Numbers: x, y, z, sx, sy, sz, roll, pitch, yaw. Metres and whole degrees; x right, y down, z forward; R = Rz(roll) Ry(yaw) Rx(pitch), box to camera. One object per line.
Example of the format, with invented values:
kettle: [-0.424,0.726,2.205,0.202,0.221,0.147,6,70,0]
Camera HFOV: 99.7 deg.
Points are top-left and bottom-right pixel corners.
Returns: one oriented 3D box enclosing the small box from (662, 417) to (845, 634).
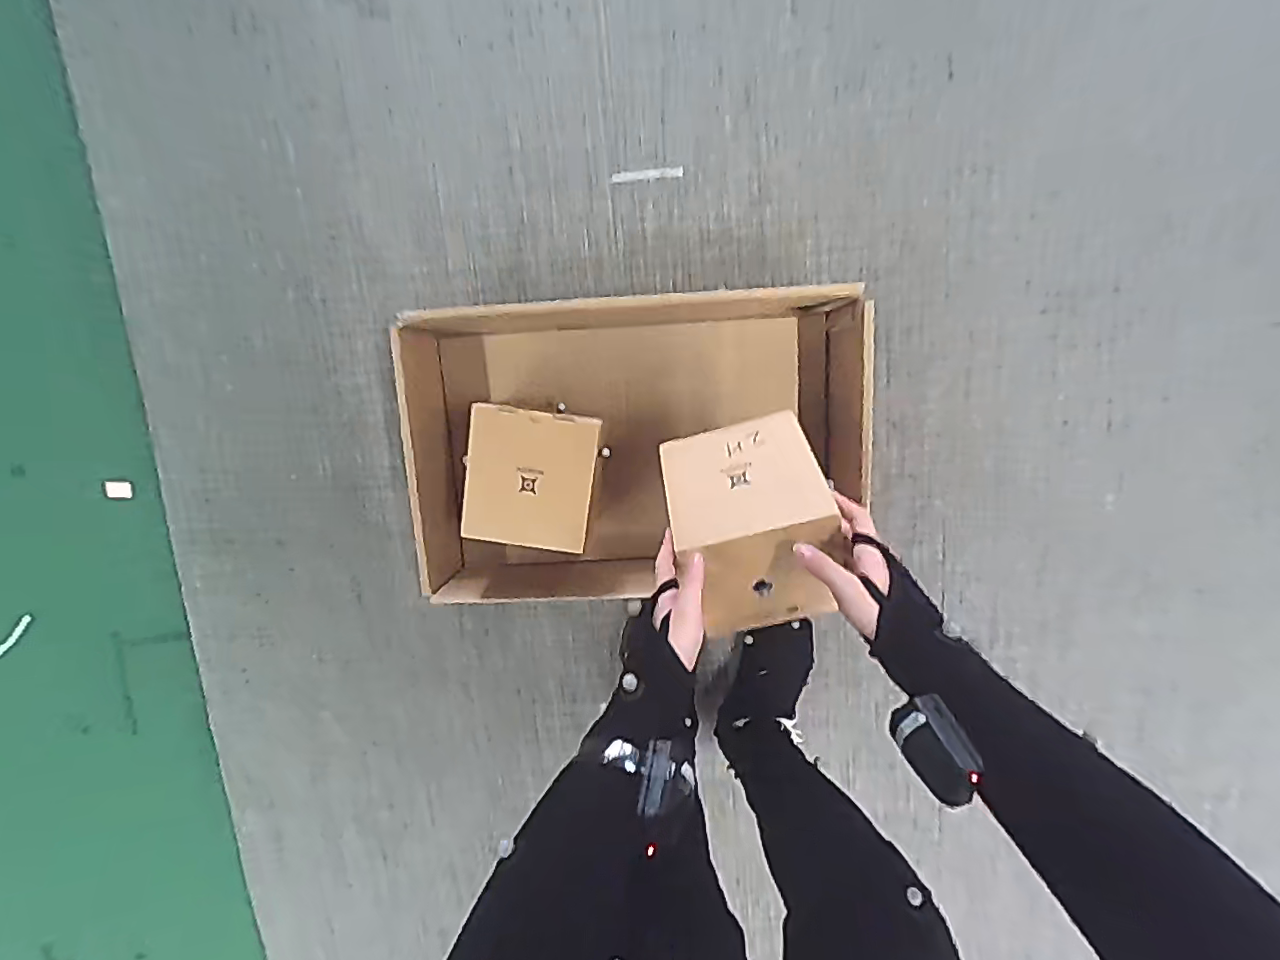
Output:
small box: [0.130,0.060,0.628,0.168,0.179,0.176,-14,130,7]

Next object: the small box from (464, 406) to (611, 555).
small box: [-0.137,-0.009,0.774,0.168,0.176,0.179,8,98,1]
